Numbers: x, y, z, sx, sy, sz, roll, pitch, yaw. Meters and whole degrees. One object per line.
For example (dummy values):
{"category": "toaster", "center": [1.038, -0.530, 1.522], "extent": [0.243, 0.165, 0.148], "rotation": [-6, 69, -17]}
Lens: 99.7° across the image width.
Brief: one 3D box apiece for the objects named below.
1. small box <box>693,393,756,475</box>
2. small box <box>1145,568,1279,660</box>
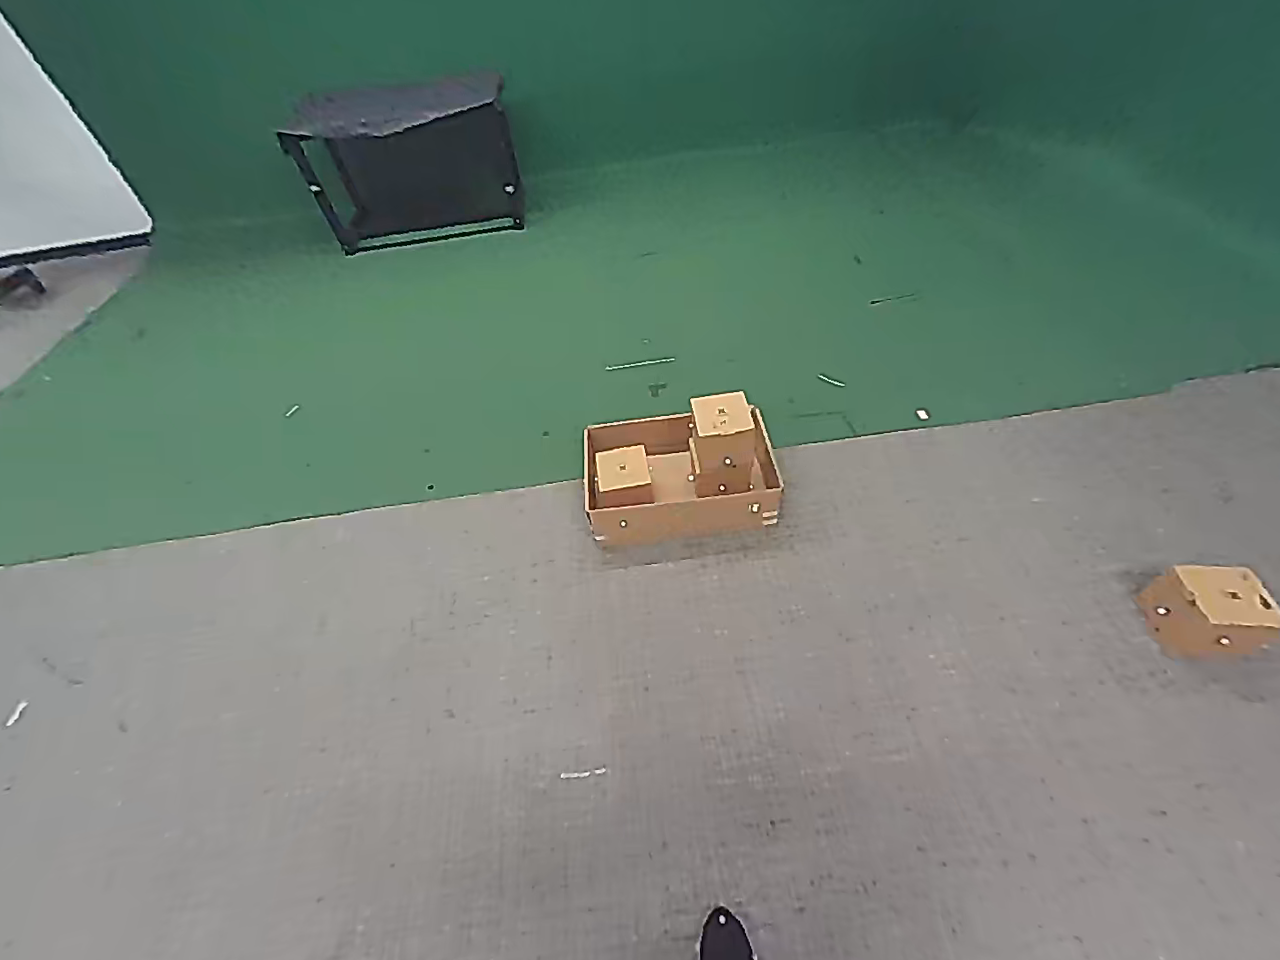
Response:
{"category": "small box", "center": [0.254, -0.139, 1.653], "extent": [0.168, 0.176, 0.179], "rotation": [-8, 49, 2]}
{"category": "small box", "center": [1.428, 0.337, 1.354], "extent": [0.179, 0.176, 0.168], "rotation": [0, 48, 9]}
